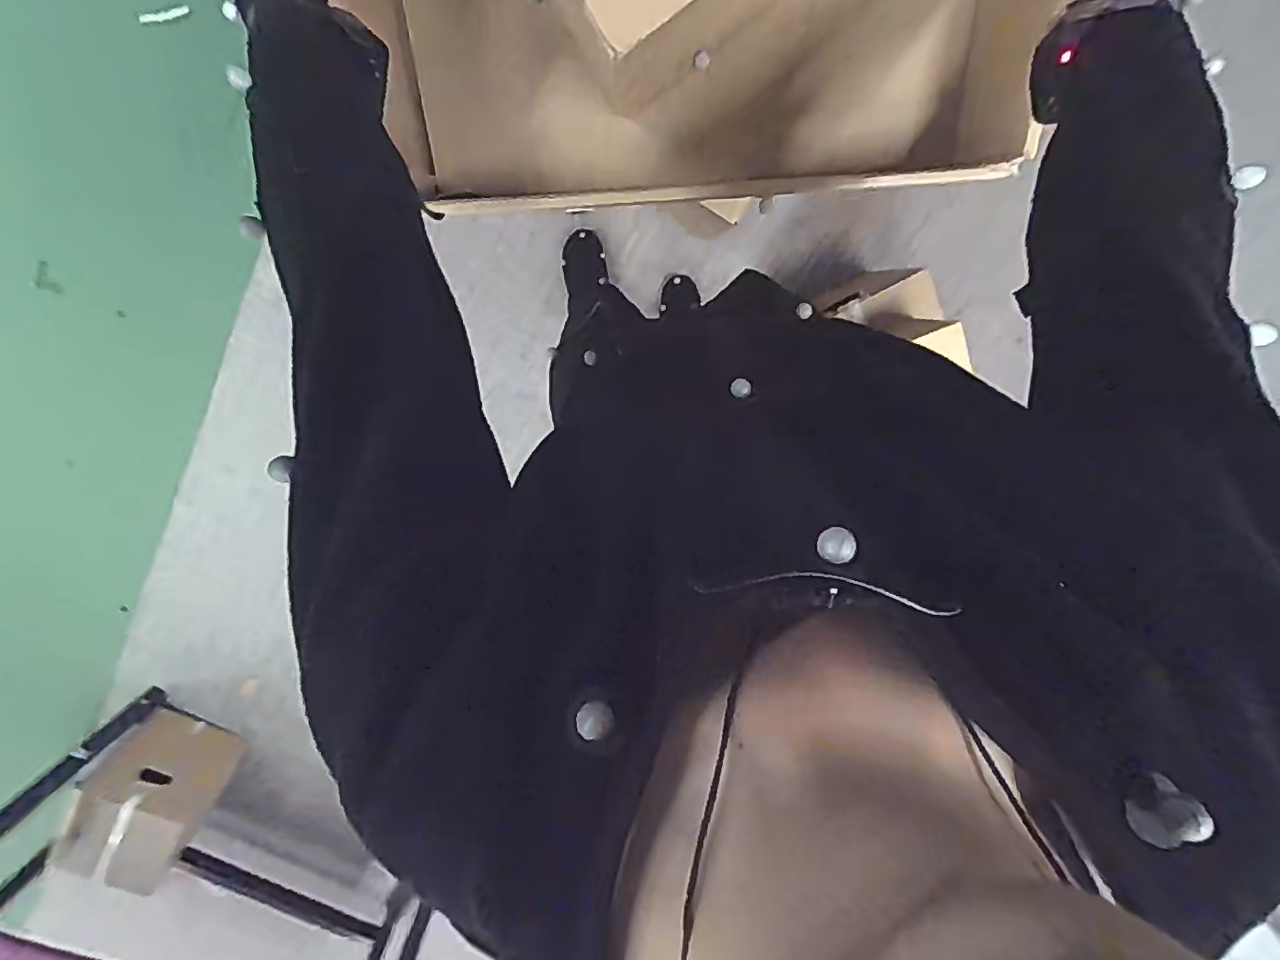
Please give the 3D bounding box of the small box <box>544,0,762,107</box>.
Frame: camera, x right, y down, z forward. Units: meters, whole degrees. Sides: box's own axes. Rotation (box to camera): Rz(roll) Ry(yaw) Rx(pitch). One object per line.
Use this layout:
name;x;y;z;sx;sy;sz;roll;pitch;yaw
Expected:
small box;0.007;-0.371;0.326;0.179;0.176;0.168;-31;112;12

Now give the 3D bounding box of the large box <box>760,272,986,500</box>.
large box;0.530;-0.232;1.287;0.320;0.320;0.408;-26;108;10

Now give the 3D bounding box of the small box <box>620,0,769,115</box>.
small box;0.016;-0.458;0.468;0.179;0.176;0.168;-32;113;12
